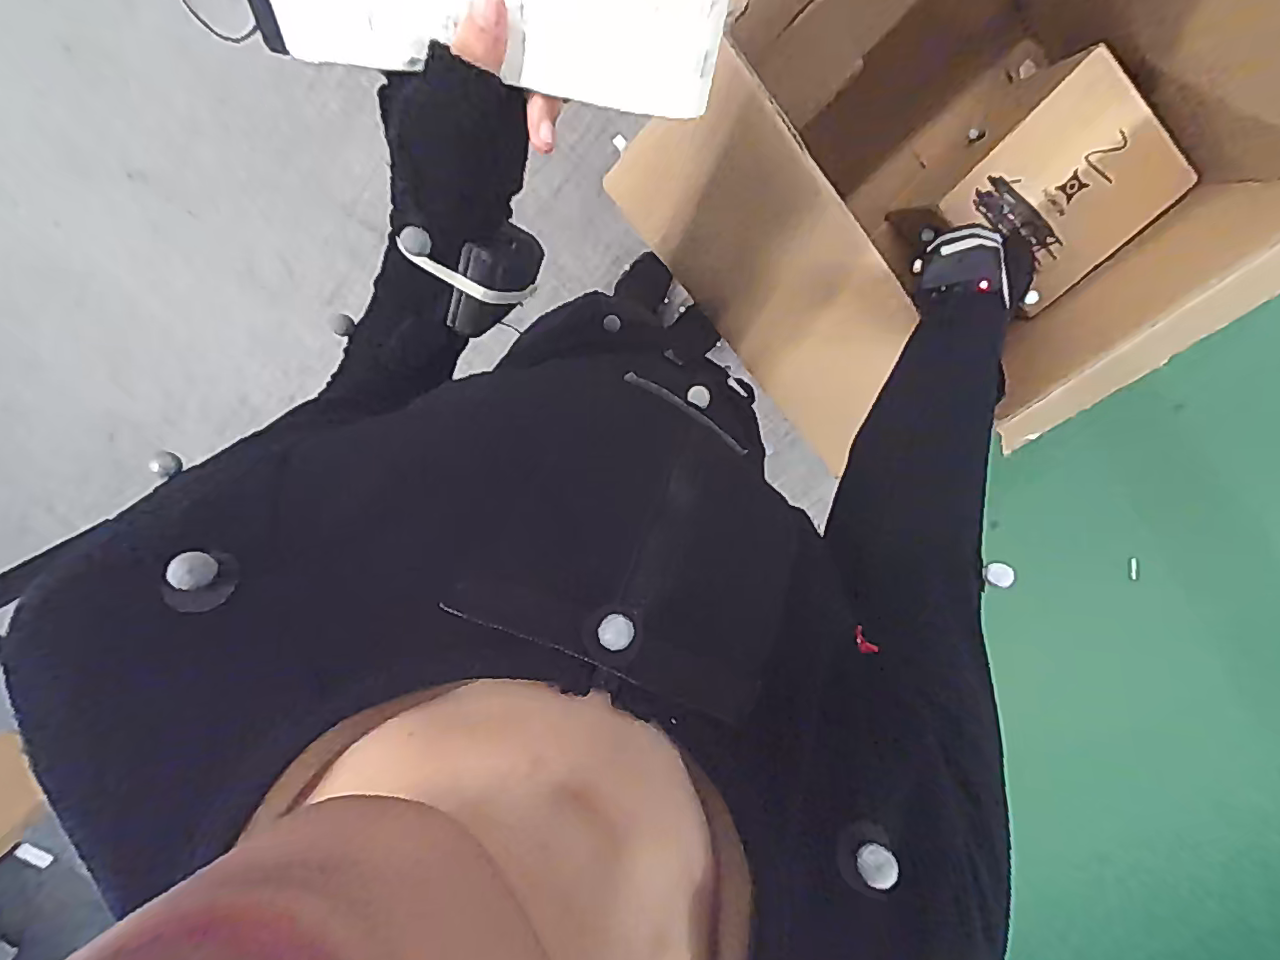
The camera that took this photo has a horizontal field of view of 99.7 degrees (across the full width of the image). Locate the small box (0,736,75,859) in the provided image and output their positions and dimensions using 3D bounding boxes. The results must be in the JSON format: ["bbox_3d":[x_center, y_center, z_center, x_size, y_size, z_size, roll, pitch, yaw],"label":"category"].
[{"bbox_3d":[-1.327,0.663,1.102,0.168,0.176,0.179,40,113,-13],"label":"small box"}]
